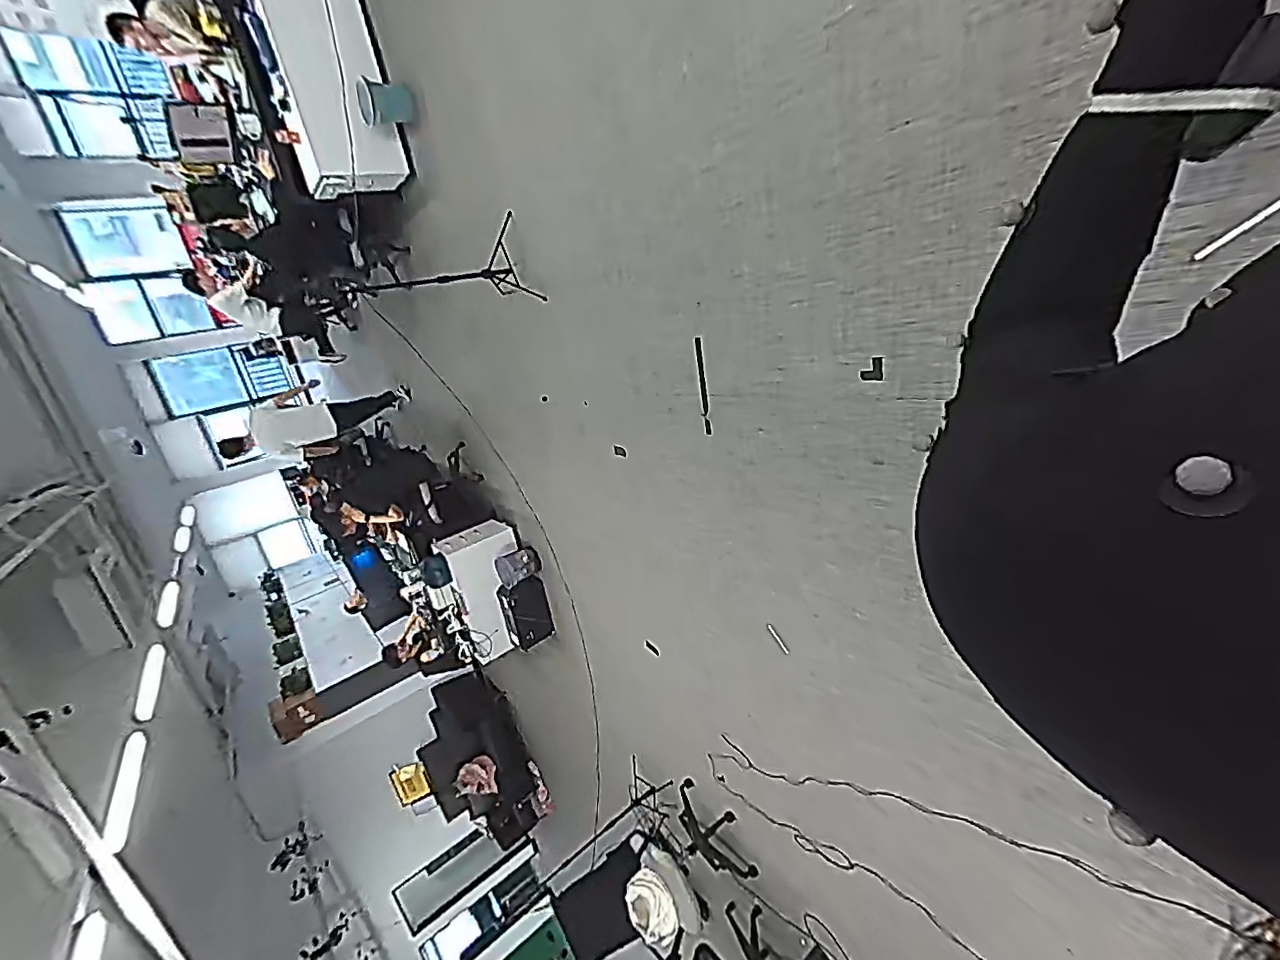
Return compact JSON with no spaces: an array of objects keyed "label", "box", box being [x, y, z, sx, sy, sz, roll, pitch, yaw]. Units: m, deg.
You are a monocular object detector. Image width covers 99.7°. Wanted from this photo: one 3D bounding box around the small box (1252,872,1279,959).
[{"label":"small box","box":[1.469,1.017,1.177,0.168,0.176,0.179,7,116,53]}]
